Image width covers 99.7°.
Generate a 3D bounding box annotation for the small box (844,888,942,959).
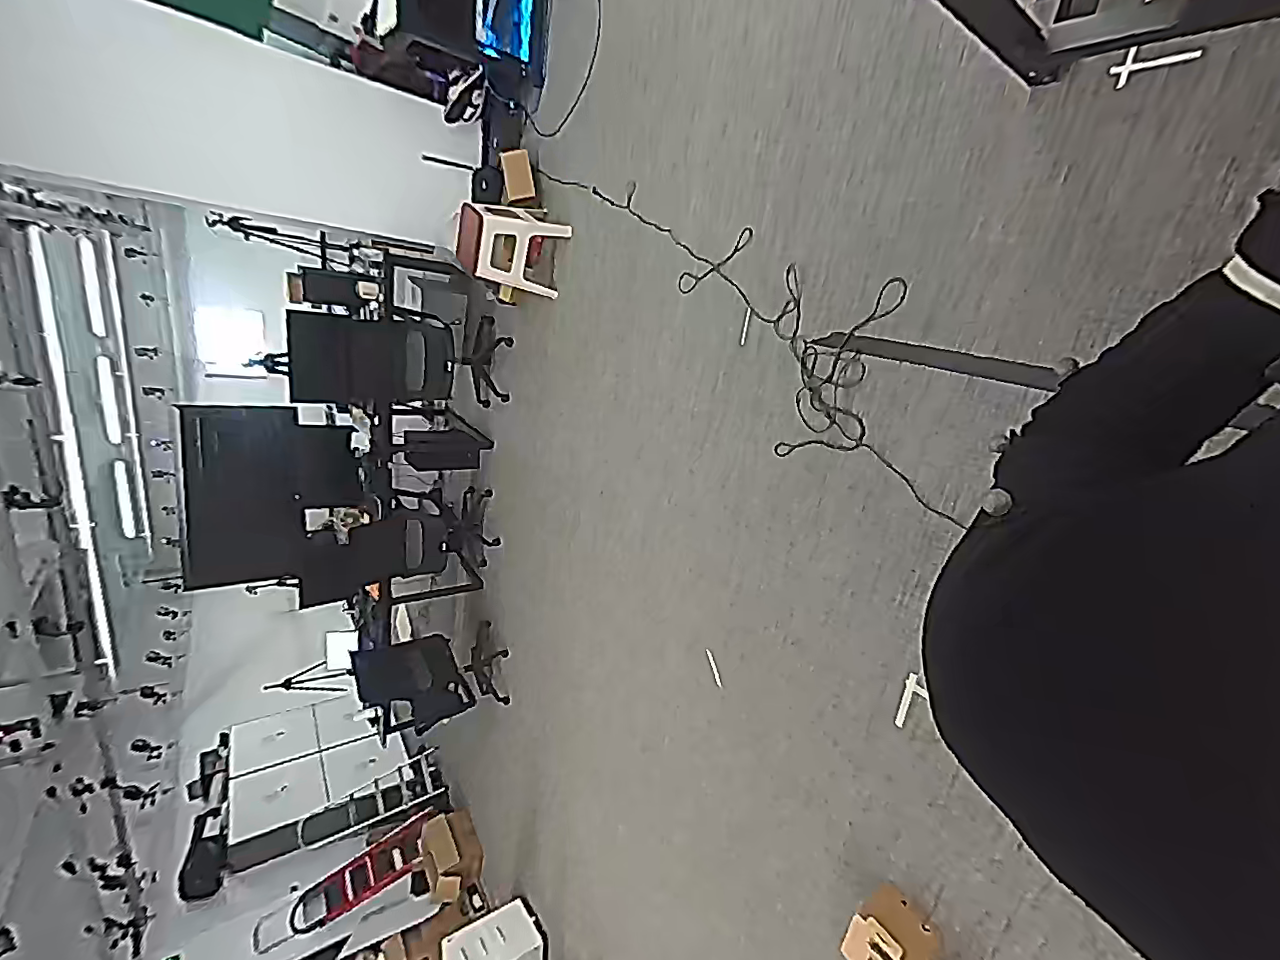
[{"bbox_3d":[0.706,1.296,1.505,0.168,0.176,0.179,32,120,49],"label":"small box"}]
